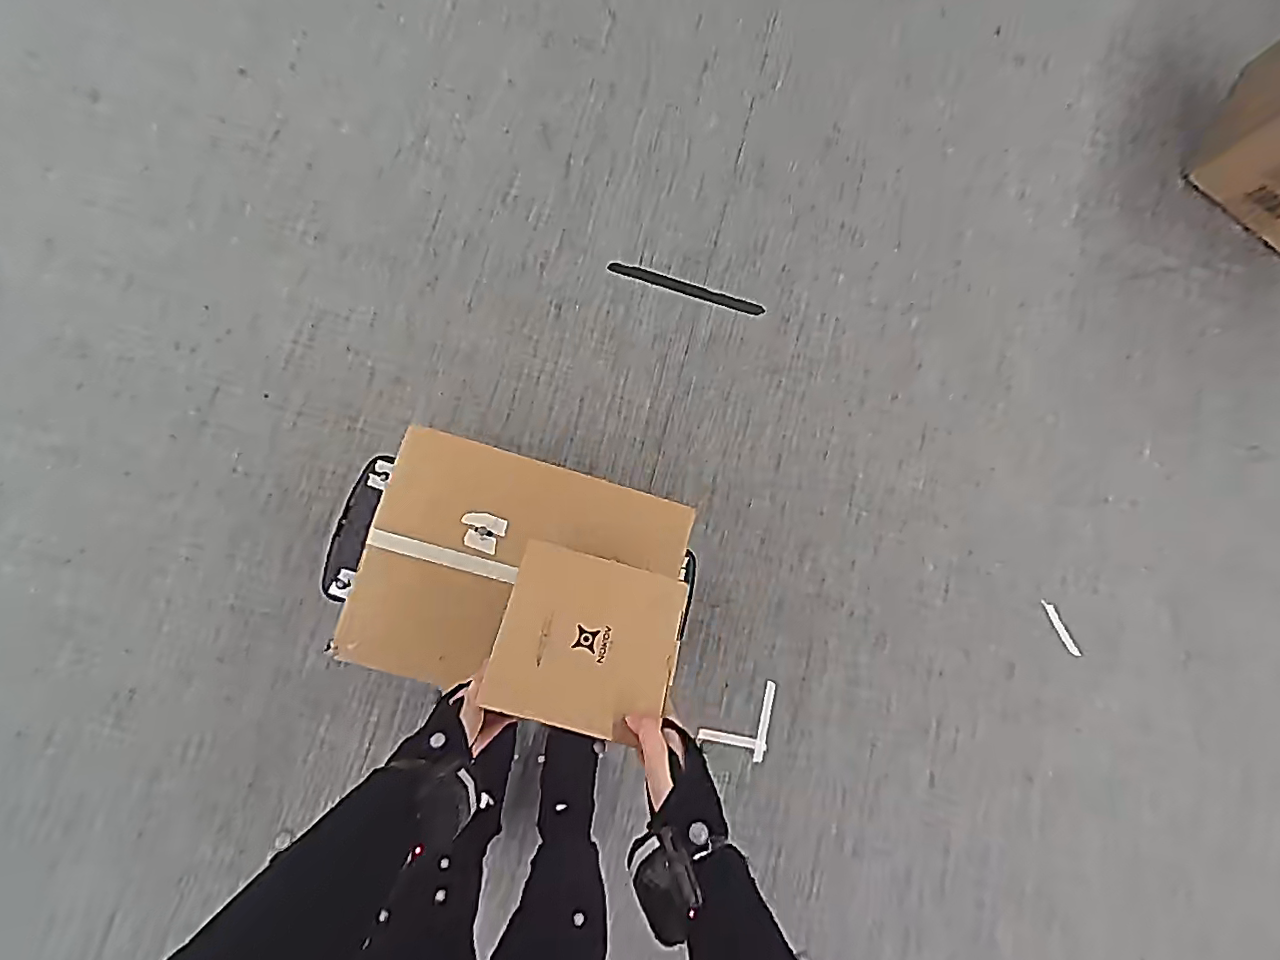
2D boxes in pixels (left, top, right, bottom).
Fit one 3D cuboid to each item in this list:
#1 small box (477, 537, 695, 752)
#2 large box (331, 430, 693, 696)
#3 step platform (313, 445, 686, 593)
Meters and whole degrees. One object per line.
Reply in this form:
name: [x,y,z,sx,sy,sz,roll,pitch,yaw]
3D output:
small box: [-0.059,0.181,0.594,0.179,0.176,0.168,17,67,-4]
large box: [-0.169,0.149,0.850,0.408,0.320,0.320,17,80,-4]
step platform: [-0.256,0.182,1.077,0.684,0.204,0.286,23,80,-3]
